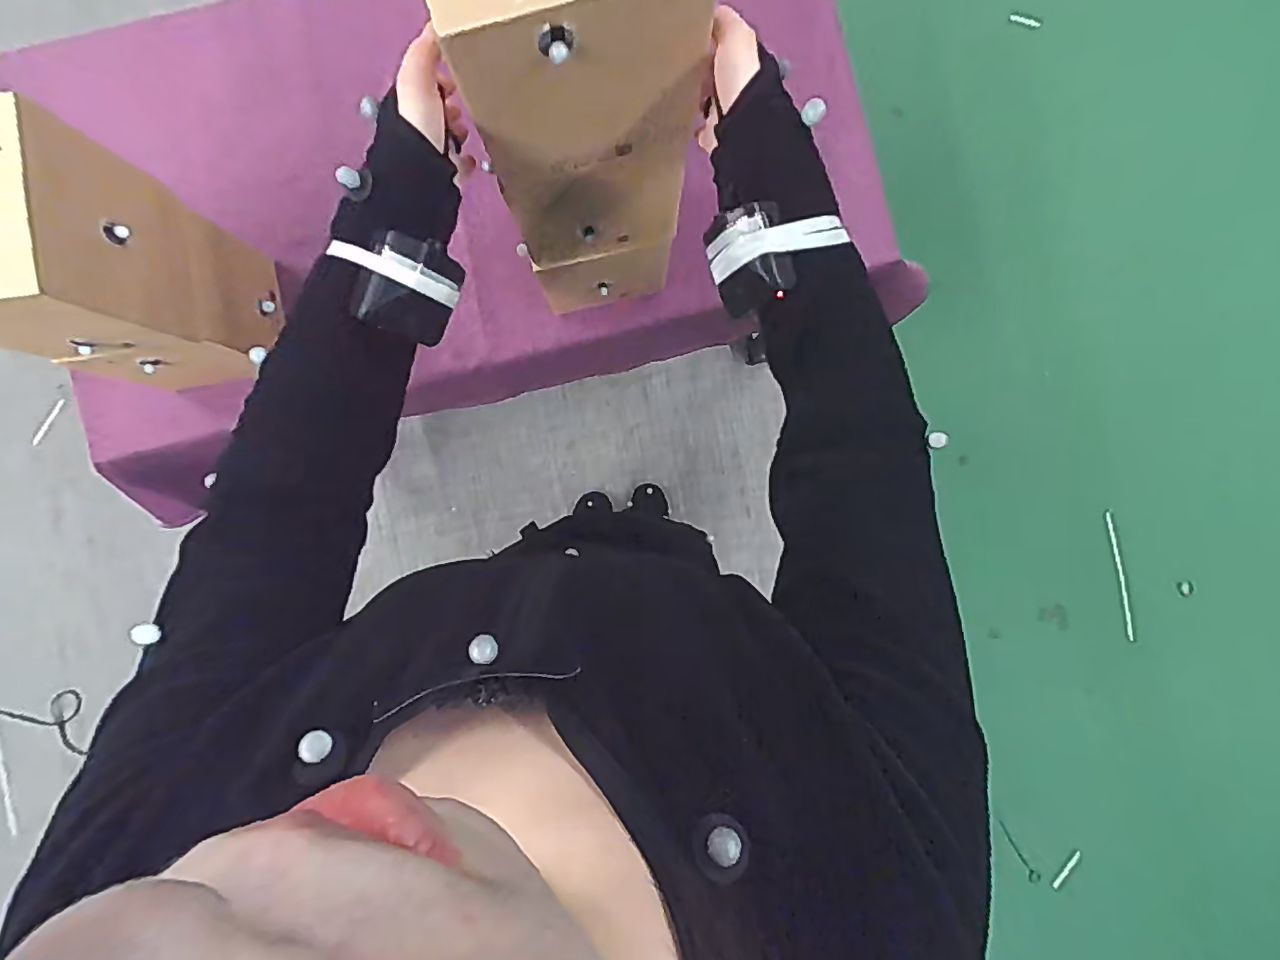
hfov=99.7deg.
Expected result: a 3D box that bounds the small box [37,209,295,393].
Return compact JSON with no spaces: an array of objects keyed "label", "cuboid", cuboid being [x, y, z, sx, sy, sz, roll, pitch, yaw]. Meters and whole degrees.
[{"label":"small box","cuboid":[-0.593,-0.217,0.699,0.179,0.176,0.168,-10,90,-1]}]

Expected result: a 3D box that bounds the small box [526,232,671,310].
[{"label":"small box","cuboid":[-0.059,-0.336,0.705,0.168,0.176,0.179,-13,90,-1]}]

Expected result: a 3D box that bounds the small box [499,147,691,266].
[{"label":"small box","cuboid":[-0.054,-0.344,0.542,0.168,0.176,0.179,-13,91,-1]}]

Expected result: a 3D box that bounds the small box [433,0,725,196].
[{"label":"small box","cuboid":[-0.052,-0.341,0.377,0.168,0.176,0.179,-16,90,0]}]
